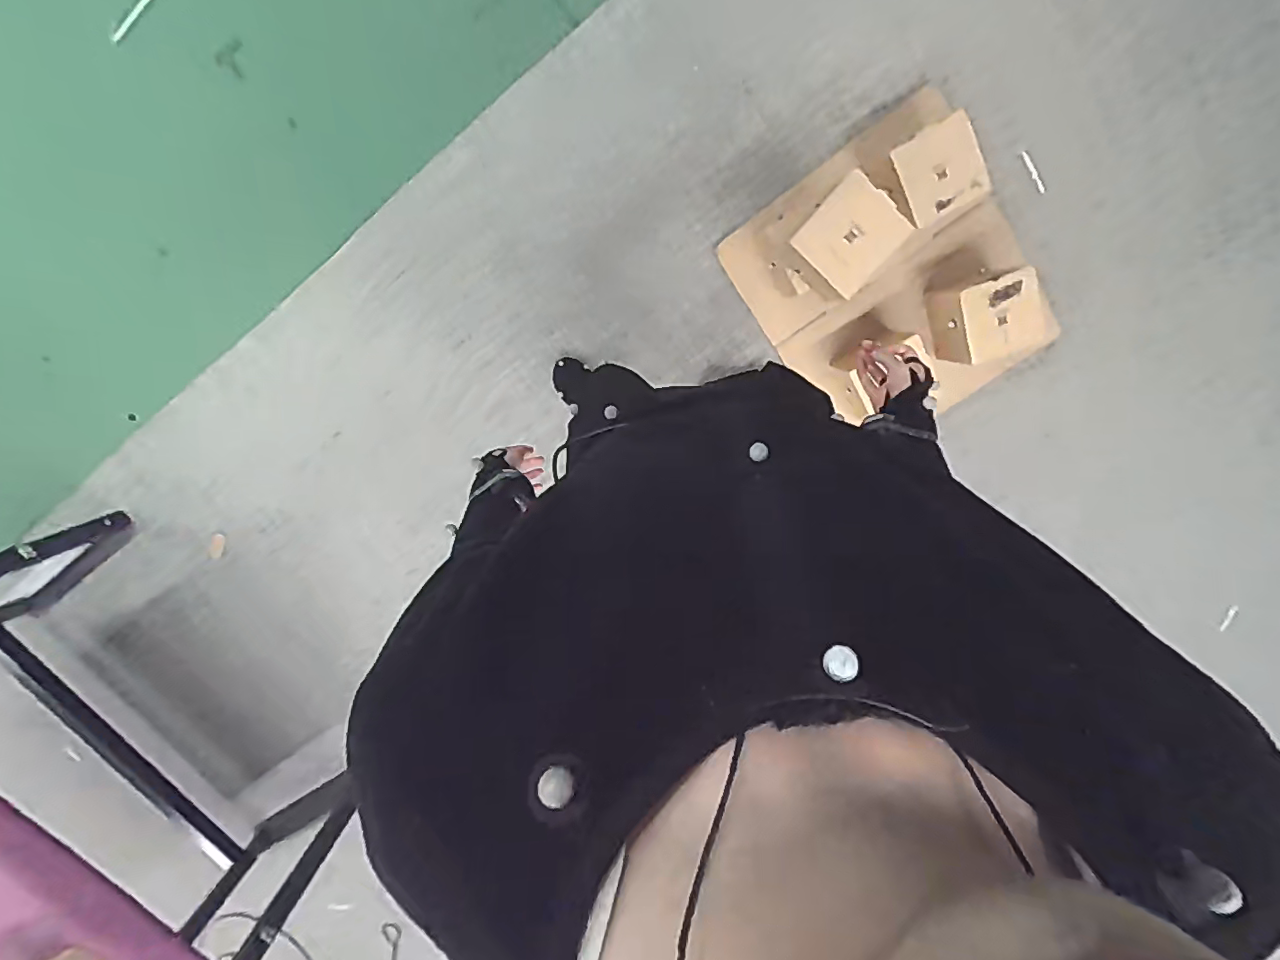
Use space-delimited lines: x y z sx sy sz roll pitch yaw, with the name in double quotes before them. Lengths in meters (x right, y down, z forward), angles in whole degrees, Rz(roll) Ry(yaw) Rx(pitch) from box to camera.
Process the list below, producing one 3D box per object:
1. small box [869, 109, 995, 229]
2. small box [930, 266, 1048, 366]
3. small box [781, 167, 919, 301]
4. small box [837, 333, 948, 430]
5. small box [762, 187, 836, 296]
"small box" 0.640 -0.670 1.208 0.168 0.176 0.179 -27 103 9
"small box" 0.817 -0.385 1.280 0.168 0.176 0.179 -19 106 7
"small box" 0.413 -0.486 1.100 0.168 0.176 0.179 41 104 -9
"small box" 0.607 -0.246 1.331 0.179 0.176 0.168 -30 103 10
"small box" 0.398 -0.543 1.254 0.179 0.176 0.168 -29 104 10
